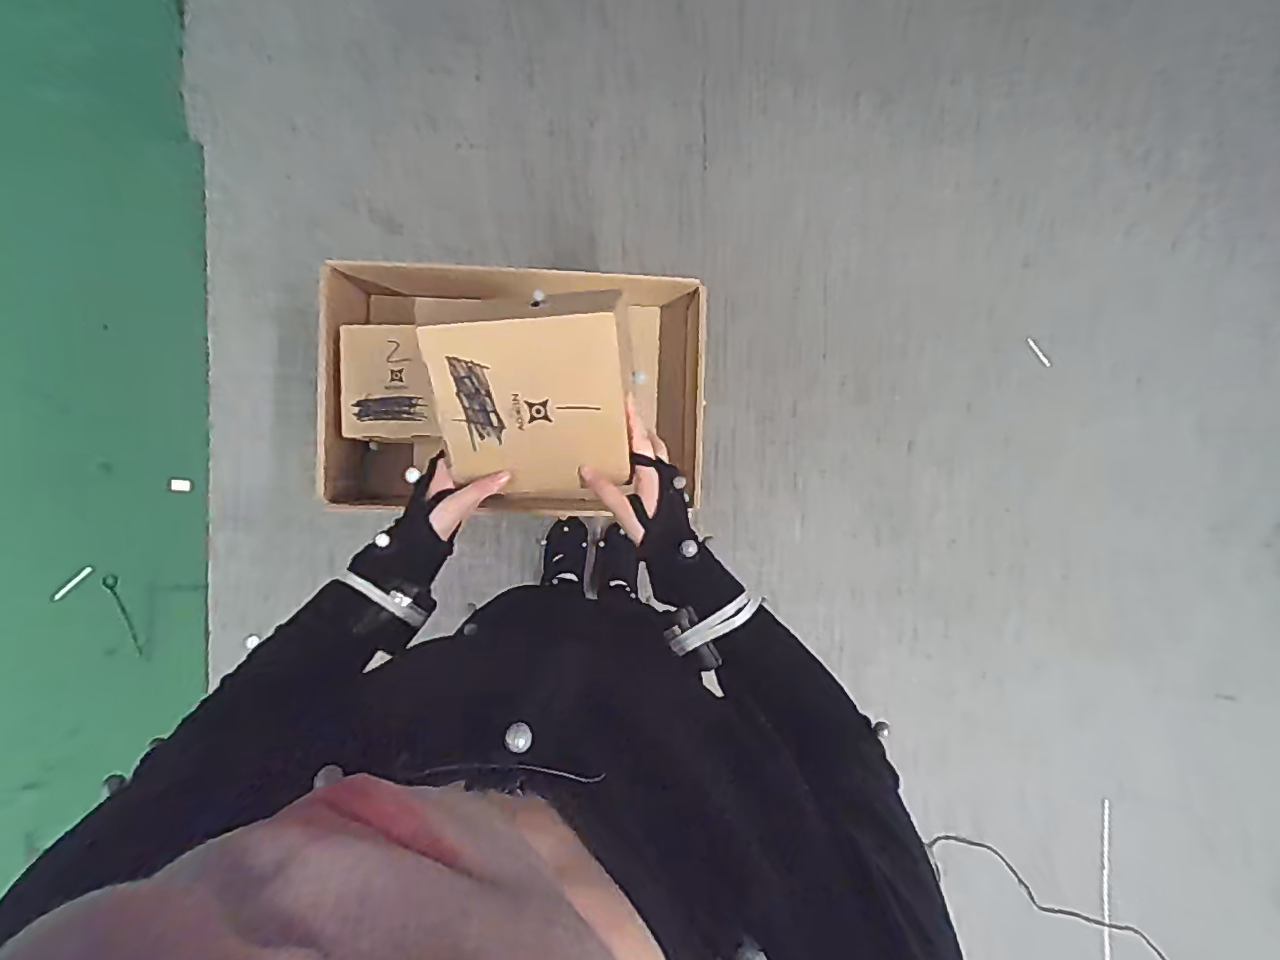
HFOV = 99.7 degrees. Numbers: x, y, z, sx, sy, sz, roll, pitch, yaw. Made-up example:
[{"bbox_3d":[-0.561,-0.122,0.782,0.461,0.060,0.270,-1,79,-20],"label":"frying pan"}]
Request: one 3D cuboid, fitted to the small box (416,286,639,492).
[{"bbox_3d":[-0.096,-0.100,0.557,0.179,0.176,0.168,-4,117,4],"label":"small box"}]
